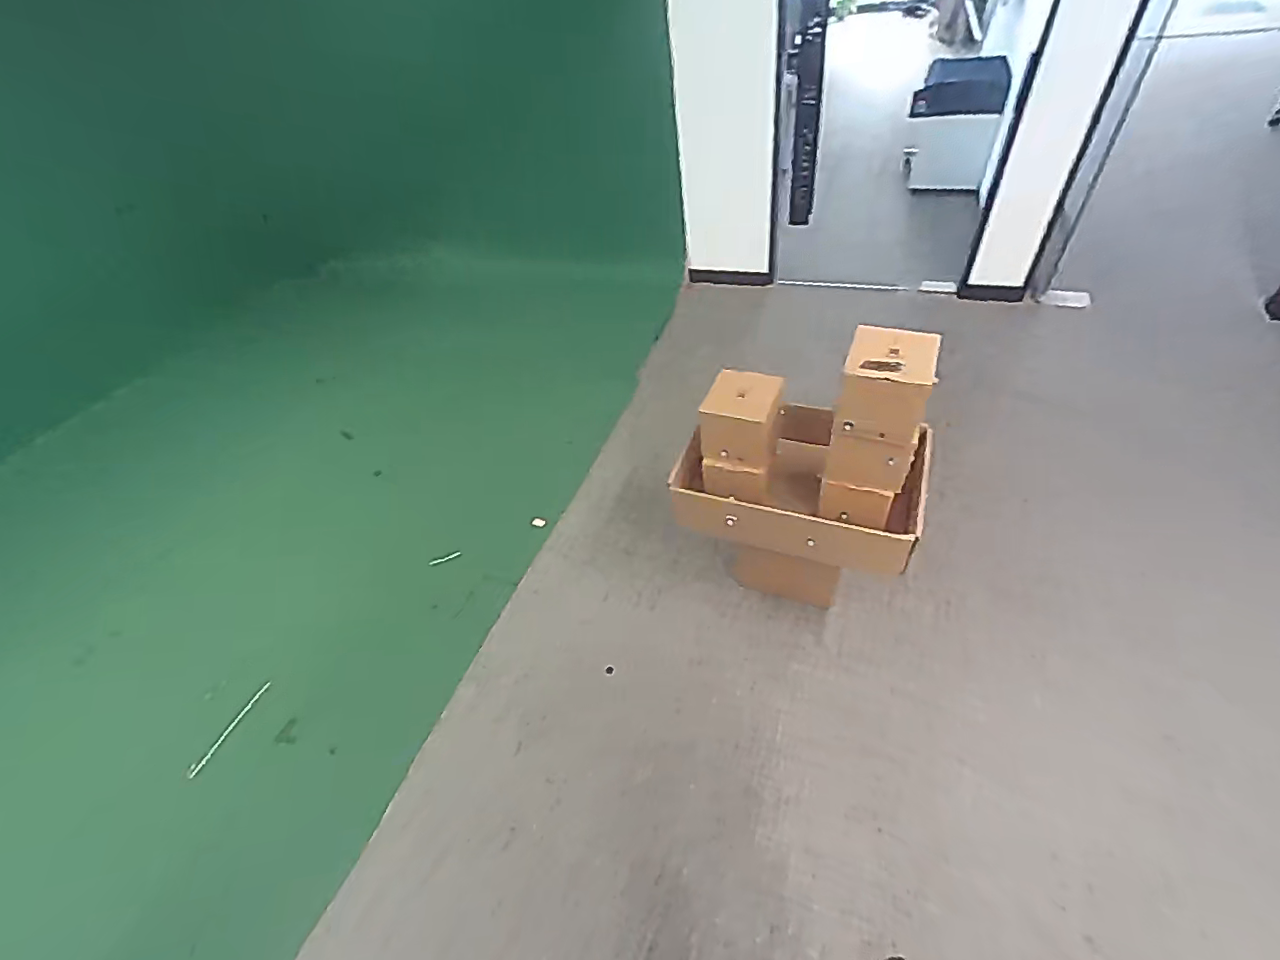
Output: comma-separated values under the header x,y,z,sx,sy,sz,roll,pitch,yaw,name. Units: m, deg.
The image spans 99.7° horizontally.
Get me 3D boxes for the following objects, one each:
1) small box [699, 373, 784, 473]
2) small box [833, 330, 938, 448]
x,y,z,sx,sy,sz,roll,pitch,yaw,name
0.262,-0.147,1.394,0.168,0.176,0.179,14,52,23,small box
0.521,-0.194,1.162,0.168,0.176,0.179,15,52,21,small box
